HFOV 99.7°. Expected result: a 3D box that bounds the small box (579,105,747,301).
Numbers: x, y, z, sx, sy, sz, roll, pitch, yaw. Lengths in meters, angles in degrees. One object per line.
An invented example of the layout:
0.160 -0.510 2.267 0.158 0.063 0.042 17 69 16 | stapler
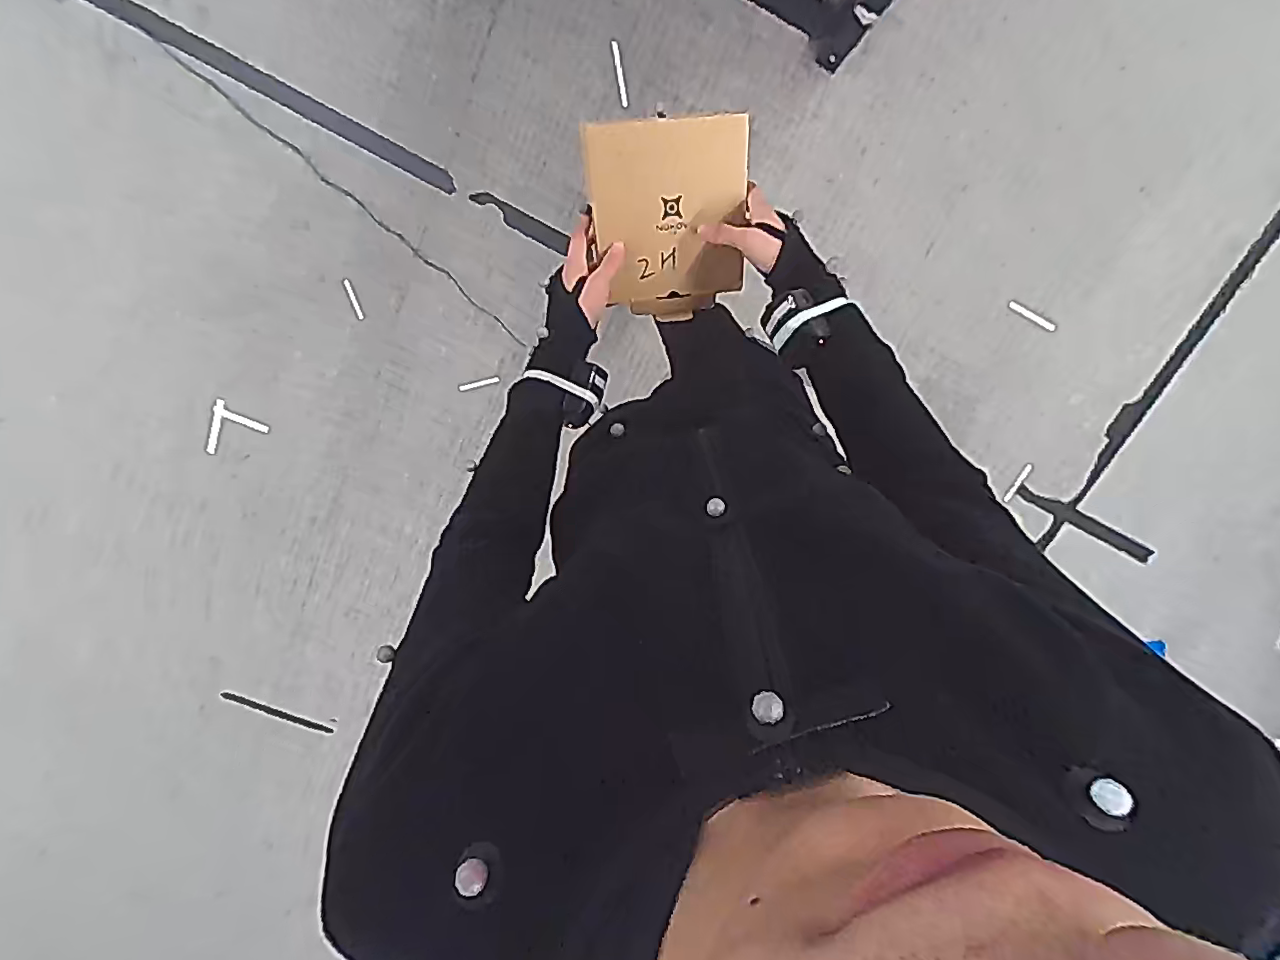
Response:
0.021 -0.328 0.637 0.168 0.176 0.179 -7 124 -3 | small box
